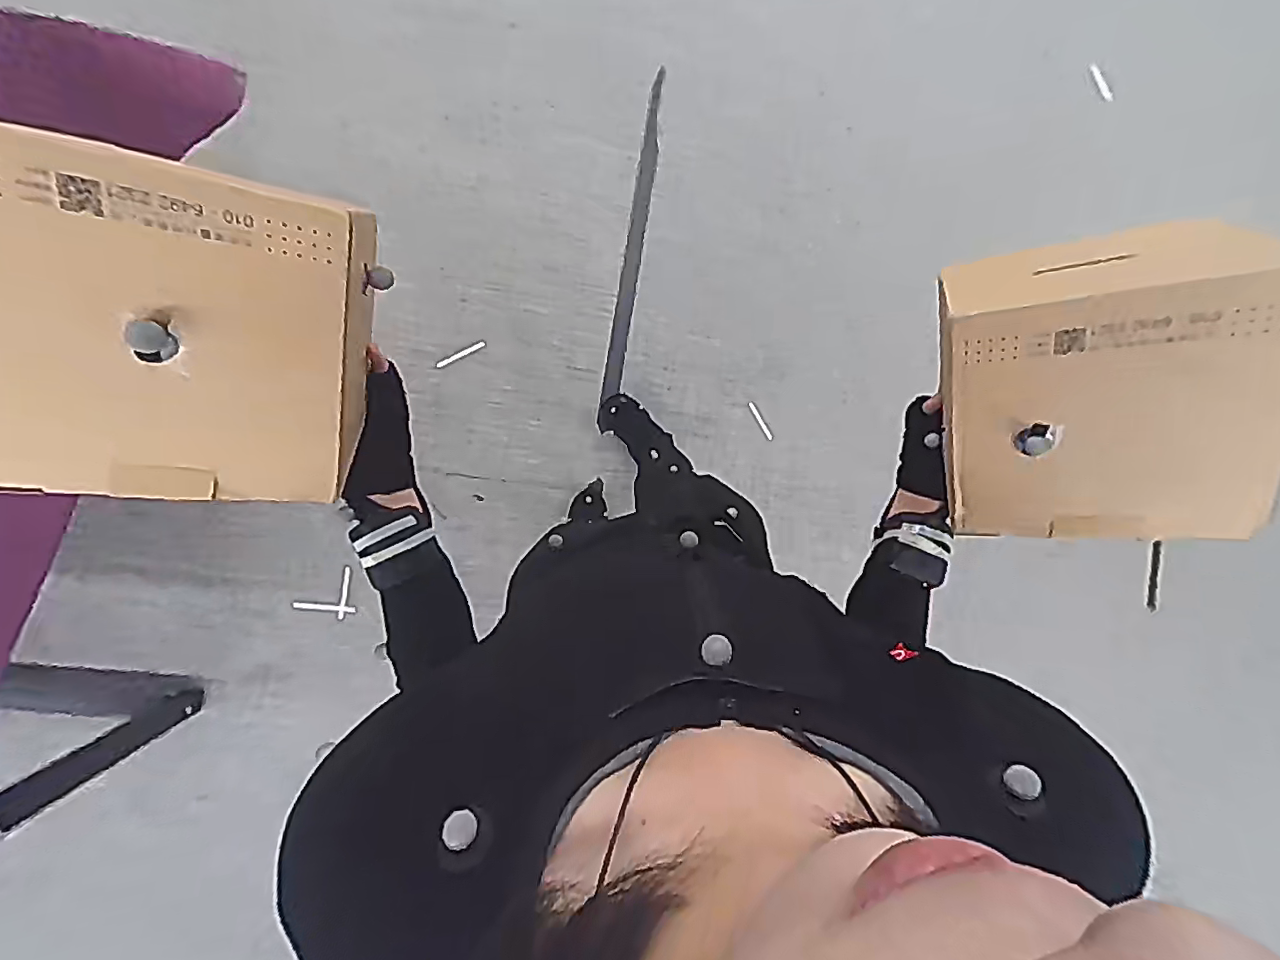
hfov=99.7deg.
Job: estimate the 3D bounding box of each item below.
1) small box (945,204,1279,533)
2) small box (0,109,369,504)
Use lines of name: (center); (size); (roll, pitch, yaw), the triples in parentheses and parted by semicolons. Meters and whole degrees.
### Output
small box: (0.315, -0.079, 0.381); (0.168, 0.179, 0.176); (-2, 119, 28)
small box: (-0.263, -0.100, 0.324); (0.168, 0.179, 0.176); (5, 112, -23)
